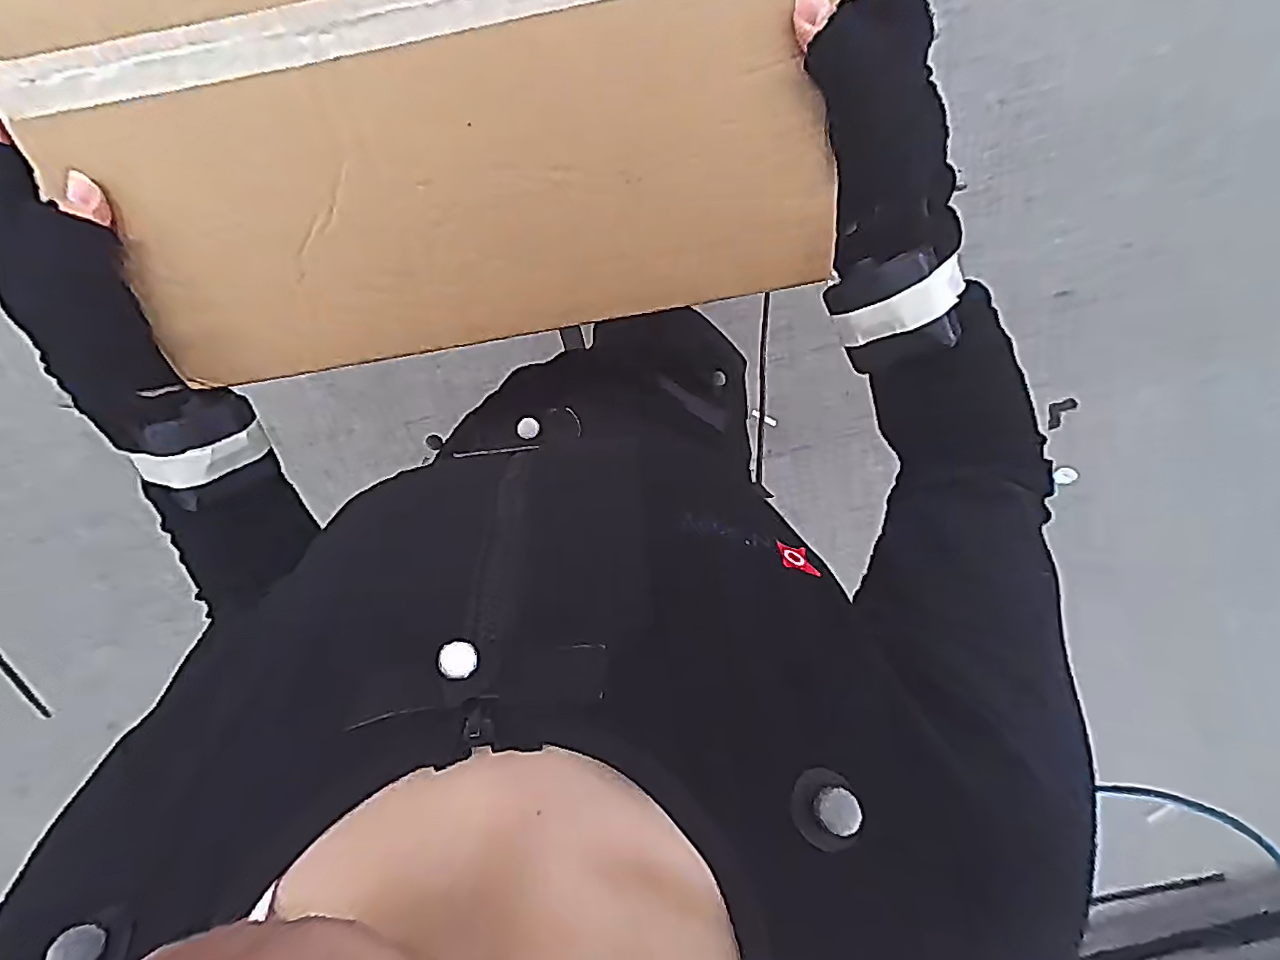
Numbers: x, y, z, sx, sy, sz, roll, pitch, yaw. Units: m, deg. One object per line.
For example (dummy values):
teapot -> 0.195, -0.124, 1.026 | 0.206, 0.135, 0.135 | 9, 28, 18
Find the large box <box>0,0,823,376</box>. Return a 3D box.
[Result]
large box -> -0.119, -0.308, 0.373 | 0.408, 0.320, 0.320 | -9, 125, 2
